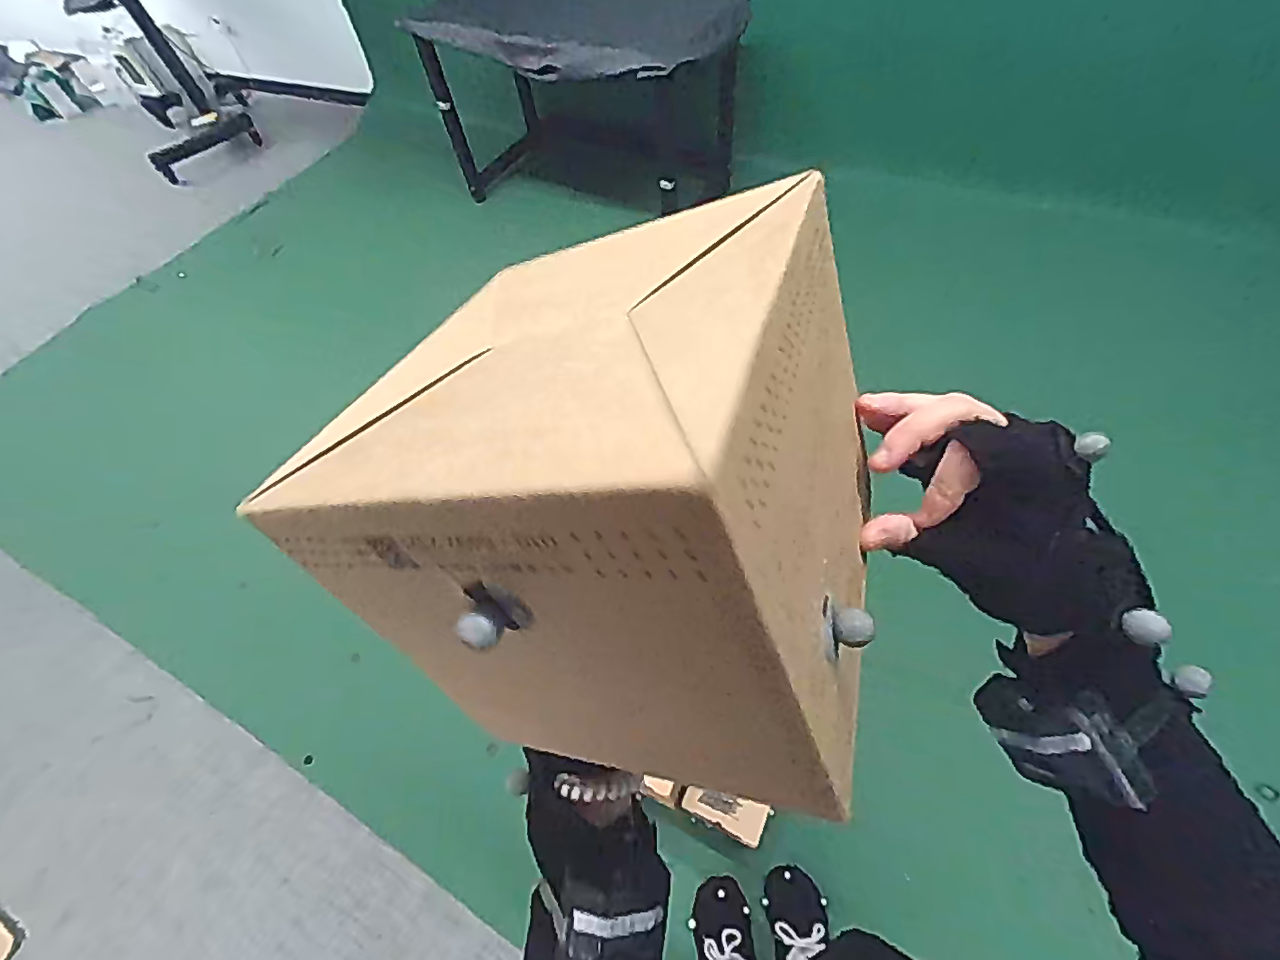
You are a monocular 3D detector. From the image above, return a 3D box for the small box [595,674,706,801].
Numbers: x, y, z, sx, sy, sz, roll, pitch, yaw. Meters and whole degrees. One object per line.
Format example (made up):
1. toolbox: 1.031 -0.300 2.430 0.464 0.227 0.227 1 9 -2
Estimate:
1. small box: 0.028 0.532 1.112 0.168 0.176 0.179 18 61 18
